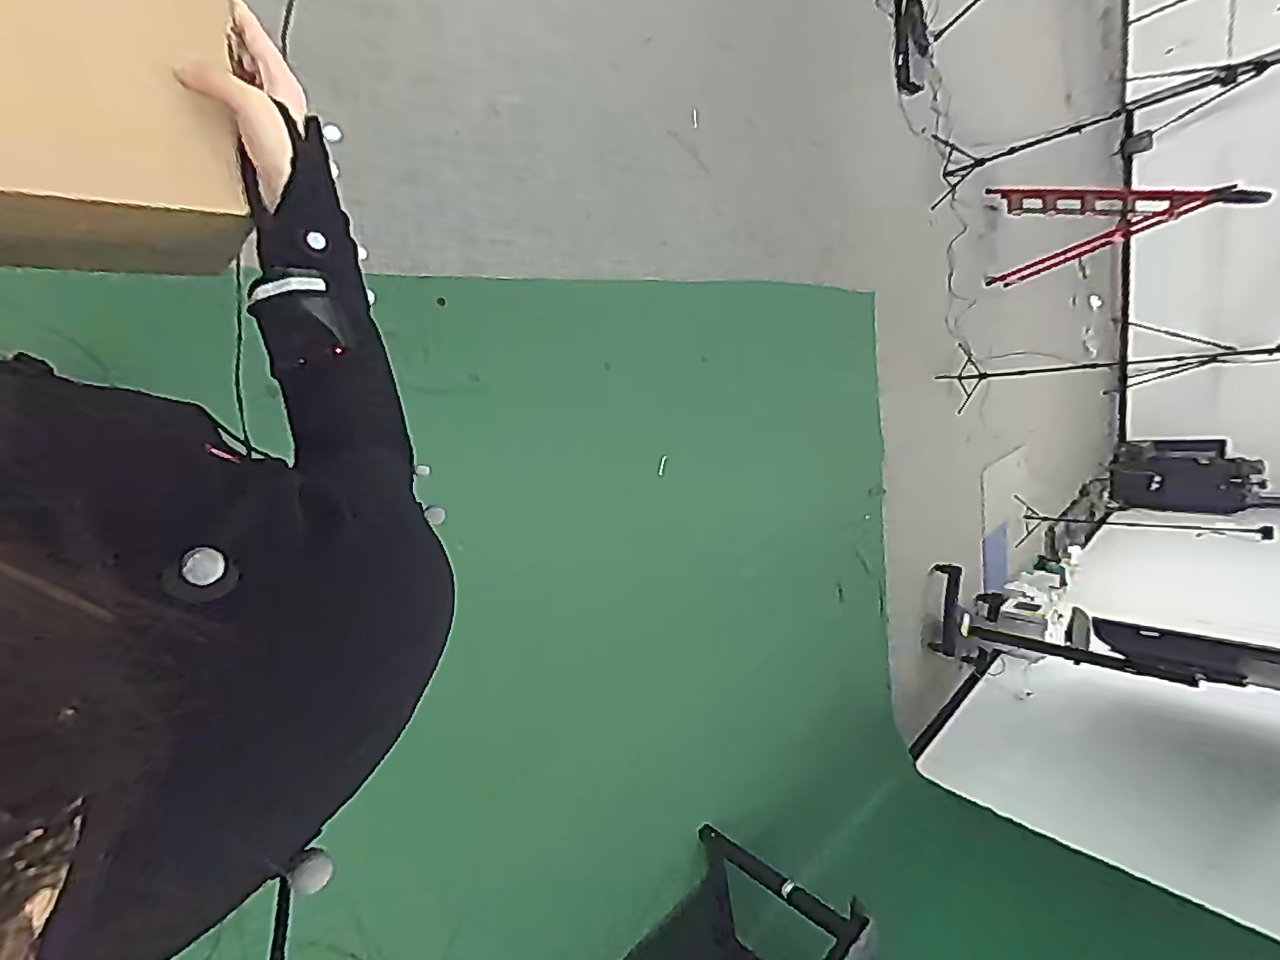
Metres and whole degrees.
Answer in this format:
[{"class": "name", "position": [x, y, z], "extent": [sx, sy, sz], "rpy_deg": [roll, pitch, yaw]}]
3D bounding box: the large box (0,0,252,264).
[{"class": "large box", "position": [-0.558, -0.339, 0.376], "extent": [0.408, 0.320, 0.320], "rpy_deg": [-14, 107, -39]}]
